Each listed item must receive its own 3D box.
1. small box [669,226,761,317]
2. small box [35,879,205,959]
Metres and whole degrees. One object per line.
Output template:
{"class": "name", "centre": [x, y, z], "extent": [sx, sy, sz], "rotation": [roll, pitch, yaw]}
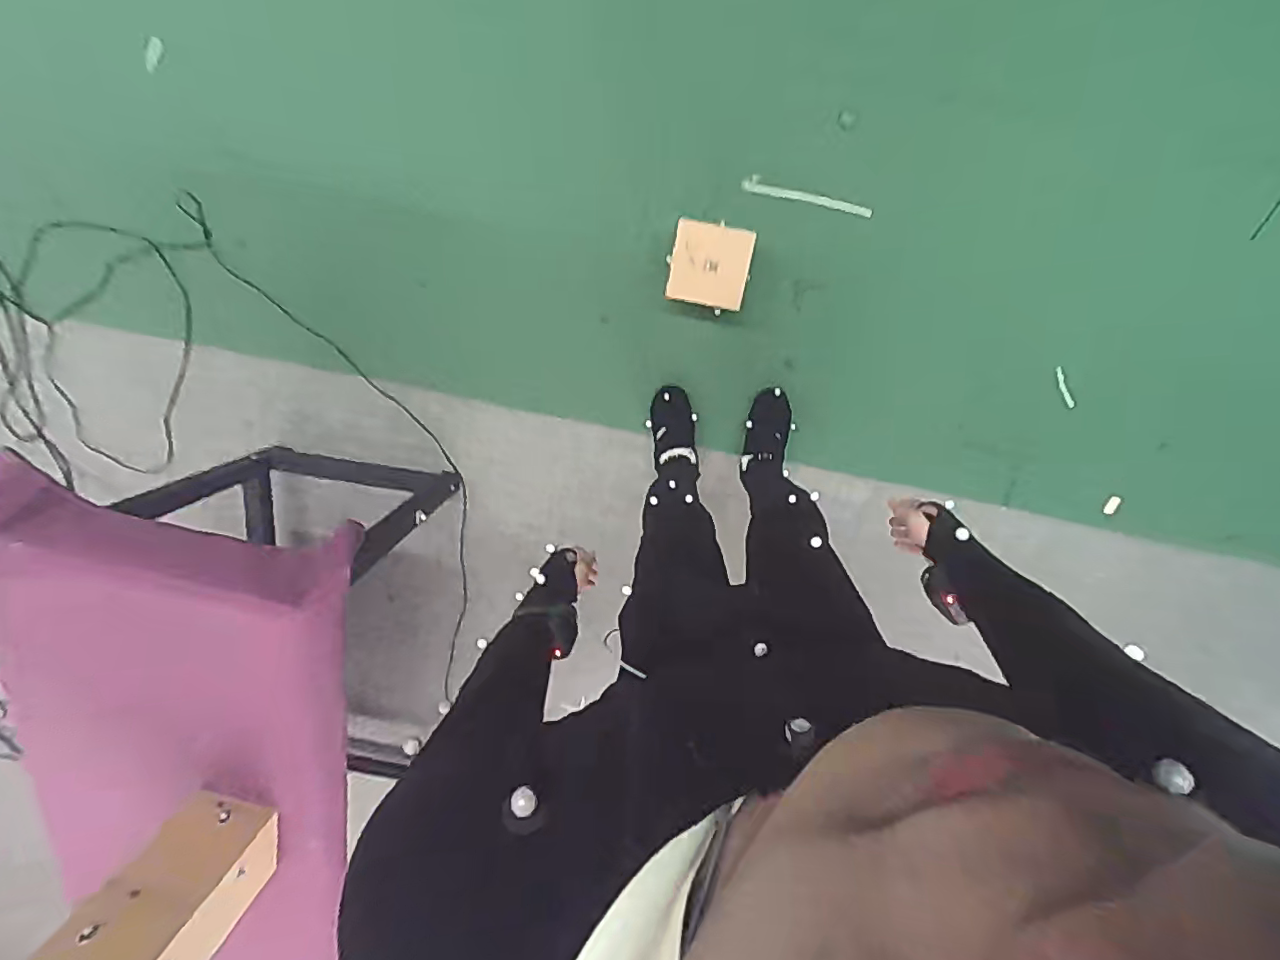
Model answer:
{"class": "small box", "centre": [0.173, -0.490, 1.284], "extent": [0.179, 0.176, 0.168], "rotation": [12, 108, 2]}
{"class": "small box", "centre": [-0.838, 0.788, 0.861], "extent": [0.168, 0.176, 0.179], "rotation": [15, 108, 1]}
